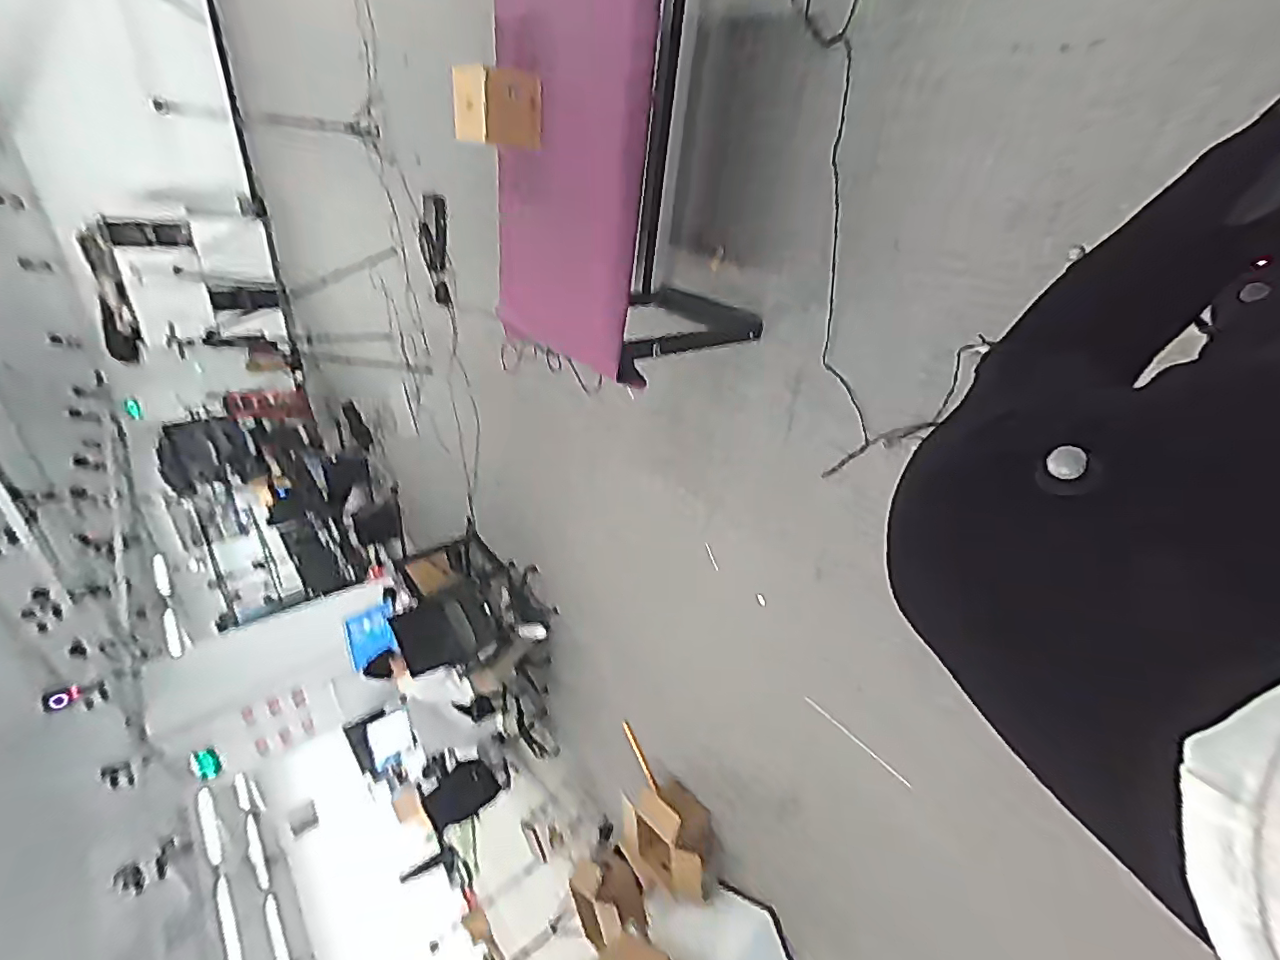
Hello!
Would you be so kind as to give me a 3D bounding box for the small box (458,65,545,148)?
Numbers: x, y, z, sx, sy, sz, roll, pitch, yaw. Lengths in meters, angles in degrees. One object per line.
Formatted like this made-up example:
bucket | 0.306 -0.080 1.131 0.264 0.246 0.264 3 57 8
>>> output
small box | -0.368 -1.000 1.453 0.179 0.176 0.168 35 131 38
